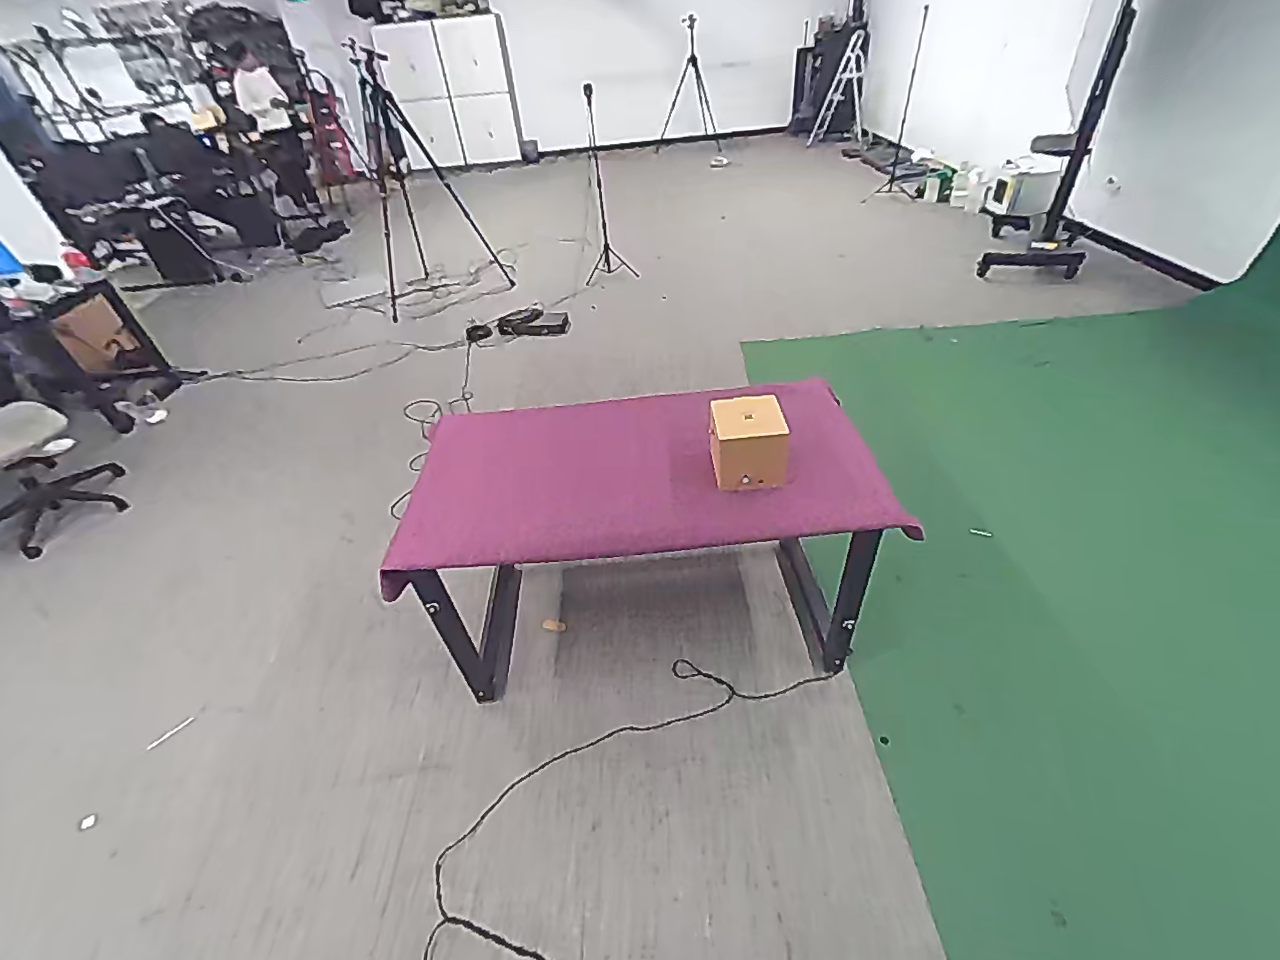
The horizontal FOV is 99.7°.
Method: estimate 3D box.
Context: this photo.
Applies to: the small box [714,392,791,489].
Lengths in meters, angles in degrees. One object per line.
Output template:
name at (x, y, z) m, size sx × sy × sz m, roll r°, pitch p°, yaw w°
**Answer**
small box at (0.273, -0.098, 1.352) m, size 0.168 × 0.176 × 0.179 m, roll -5°, pitch 39°, yaw 4°
